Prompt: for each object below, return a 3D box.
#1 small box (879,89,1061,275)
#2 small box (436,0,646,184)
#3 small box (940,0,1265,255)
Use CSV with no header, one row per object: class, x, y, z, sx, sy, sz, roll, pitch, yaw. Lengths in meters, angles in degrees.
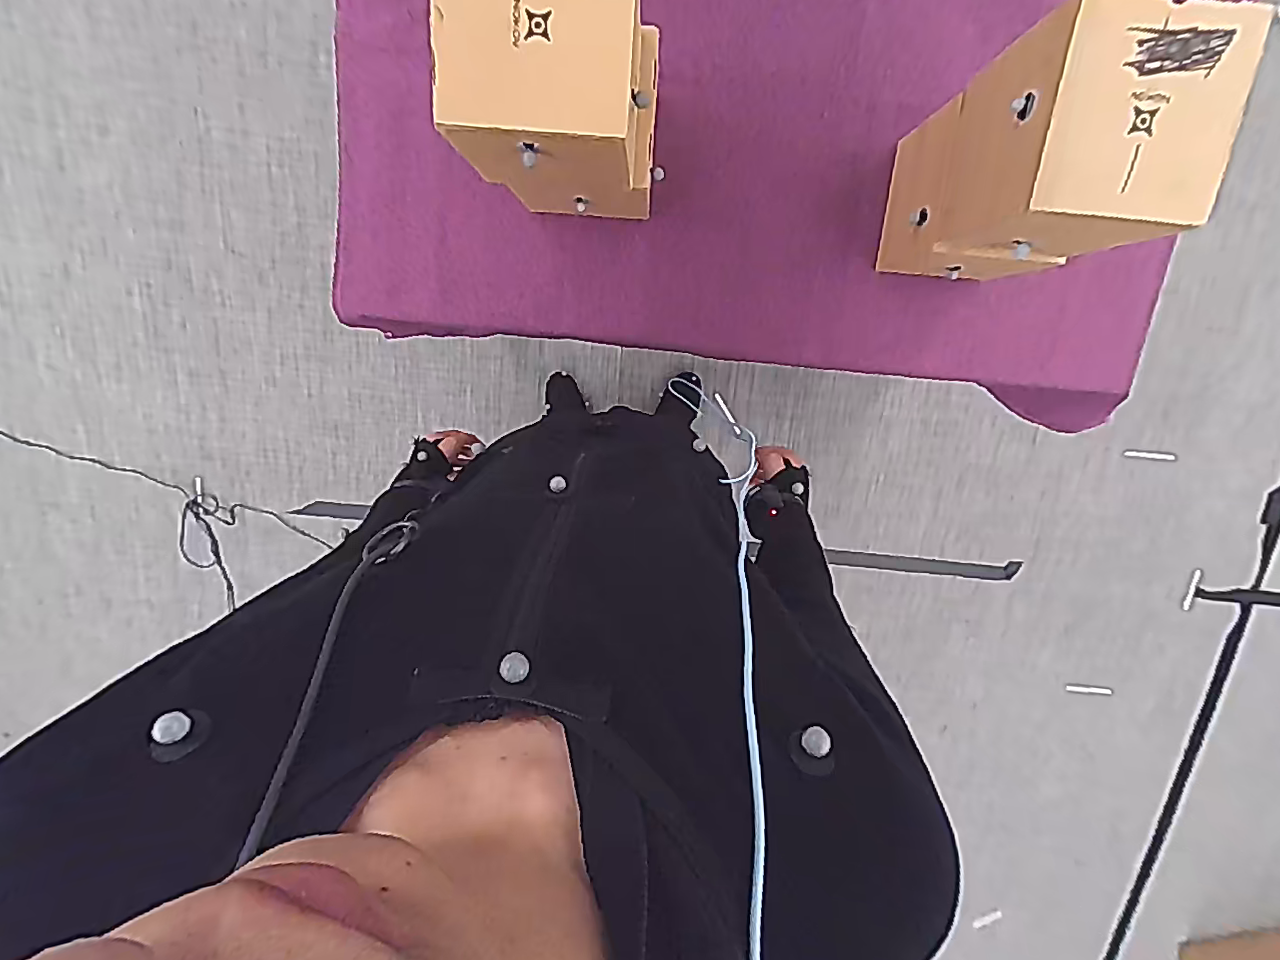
small box,0.440,-0.375,0.715,0.168,0.176,0.179,5,104,-1
small box,-0.086,-0.410,0.540,0.179,0.176,0.168,5,105,1
small box,0.441,-0.343,0.553,0.168,0.176,0.179,6,105,-1
